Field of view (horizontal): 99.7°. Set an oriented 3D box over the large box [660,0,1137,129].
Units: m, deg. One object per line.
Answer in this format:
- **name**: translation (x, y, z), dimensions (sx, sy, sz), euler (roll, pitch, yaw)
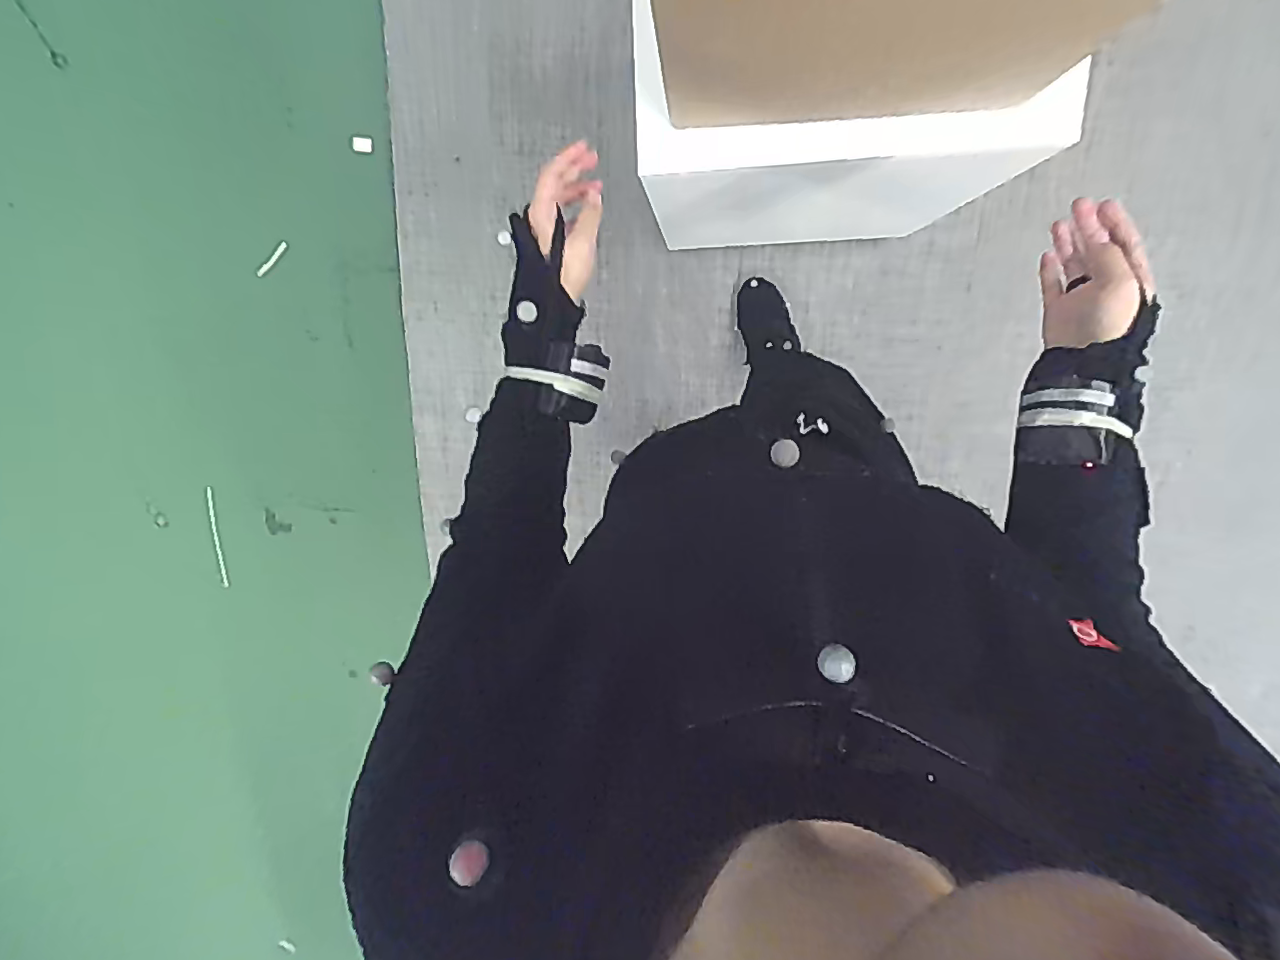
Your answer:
- **large box**: translation (0.214, -0.544, 0.463), dimensions (0.408, 0.320, 0.320), euler (0, 104, 6)
